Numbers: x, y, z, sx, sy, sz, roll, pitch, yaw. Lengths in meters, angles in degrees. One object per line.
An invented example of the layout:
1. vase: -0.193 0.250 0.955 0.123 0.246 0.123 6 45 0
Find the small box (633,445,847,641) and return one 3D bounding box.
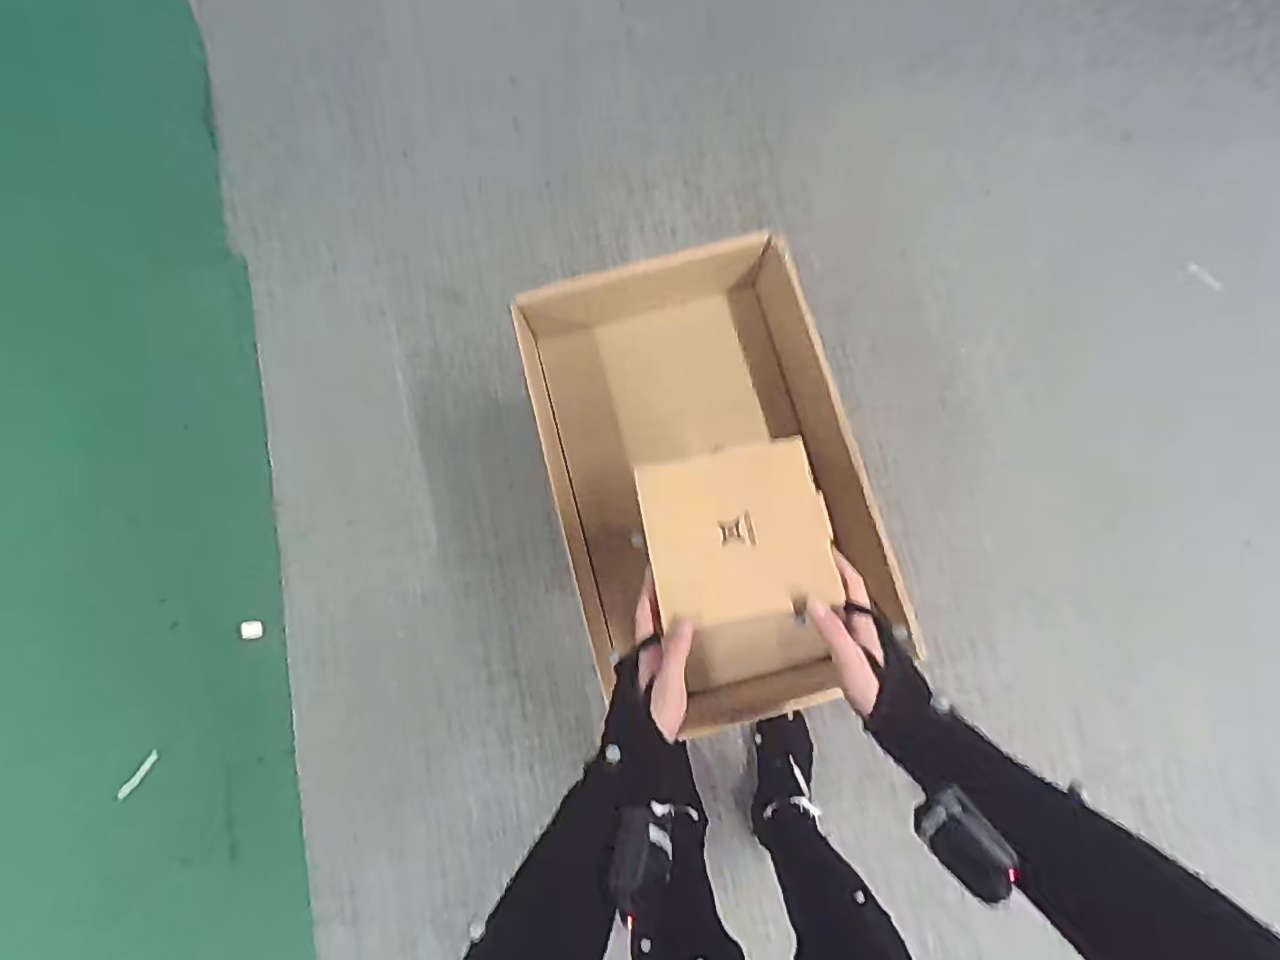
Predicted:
1. small box: 0.094 0.078 0.587 0.179 0.176 0.168 -10 73 -1
